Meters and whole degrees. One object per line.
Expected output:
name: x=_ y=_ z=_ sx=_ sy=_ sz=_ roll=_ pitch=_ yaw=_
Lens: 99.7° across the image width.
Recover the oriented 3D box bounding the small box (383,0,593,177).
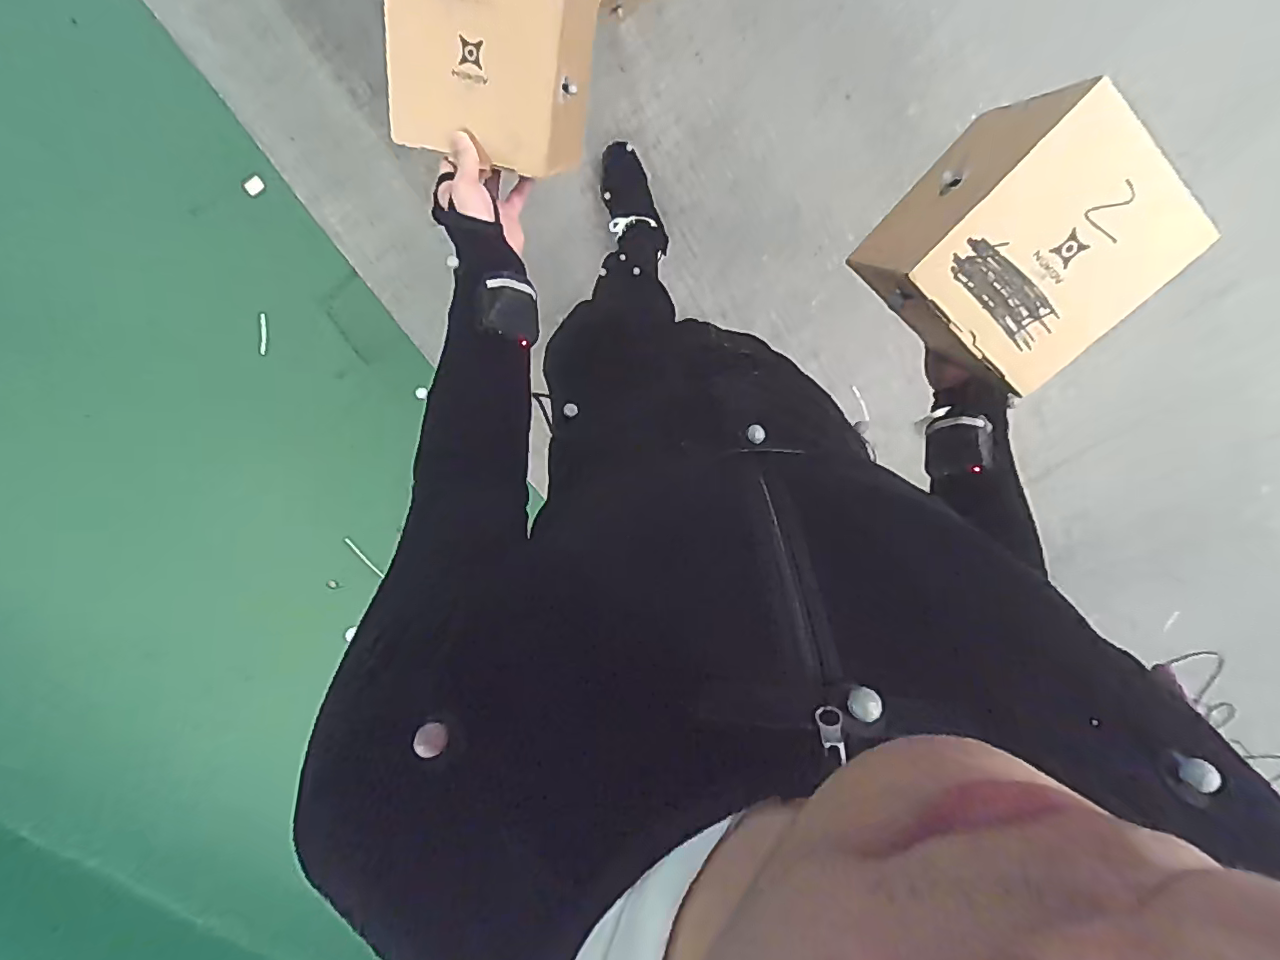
small box: x=-0.154 y=-0.449 z=0.580 sx=0.168 sy=0.176 sz=0.179 roll=14 pitch=124 yaw=-2
